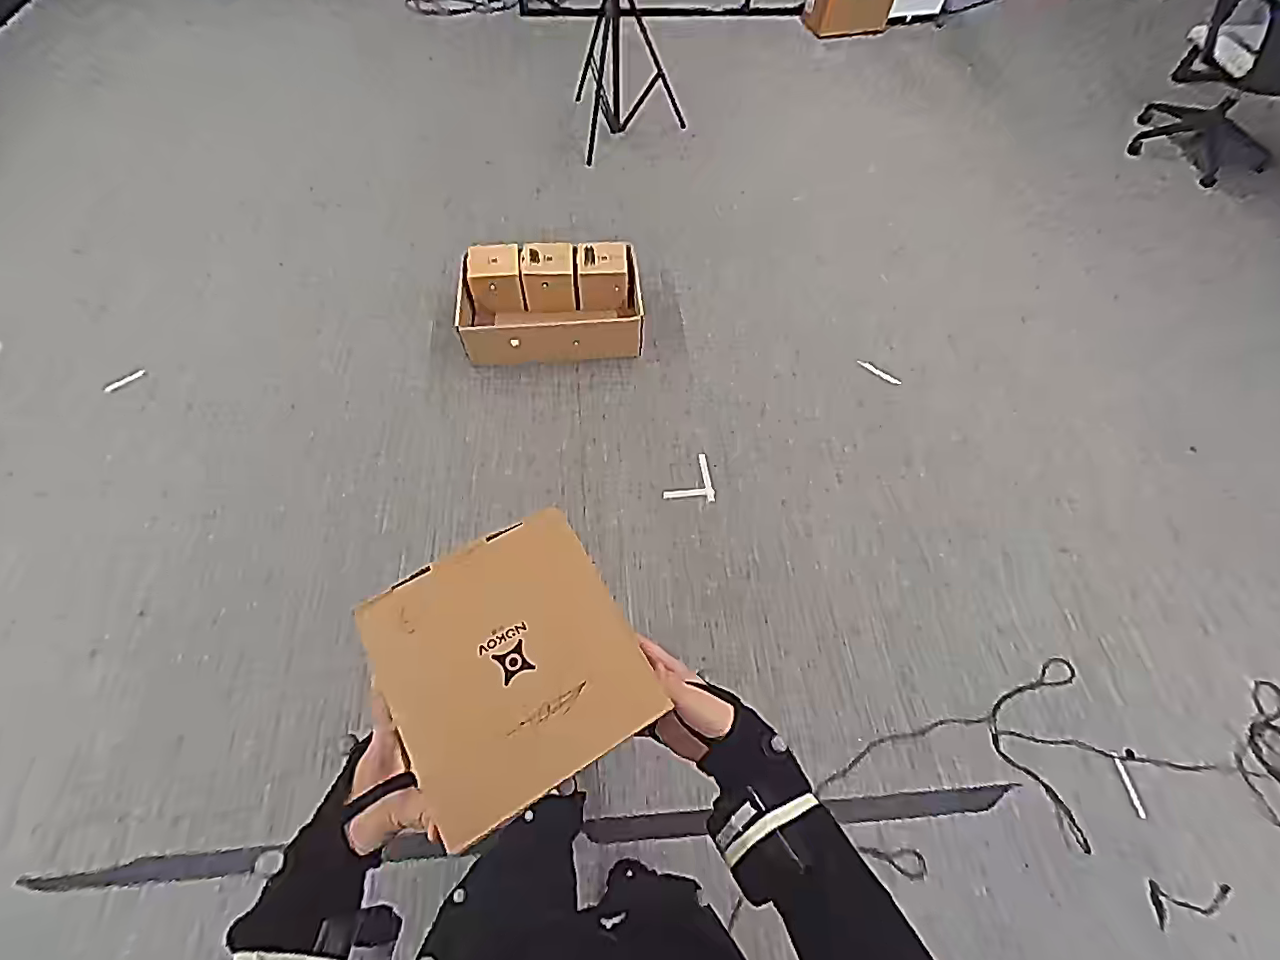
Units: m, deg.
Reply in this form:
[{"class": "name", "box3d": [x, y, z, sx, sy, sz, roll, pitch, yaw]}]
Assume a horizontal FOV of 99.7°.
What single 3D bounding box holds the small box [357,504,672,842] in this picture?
[{"class": "small box", "box3d": [-0.097, 0.153, 0.449, 0.168, 0.176, 0.179, -27, 71, -17]}]
